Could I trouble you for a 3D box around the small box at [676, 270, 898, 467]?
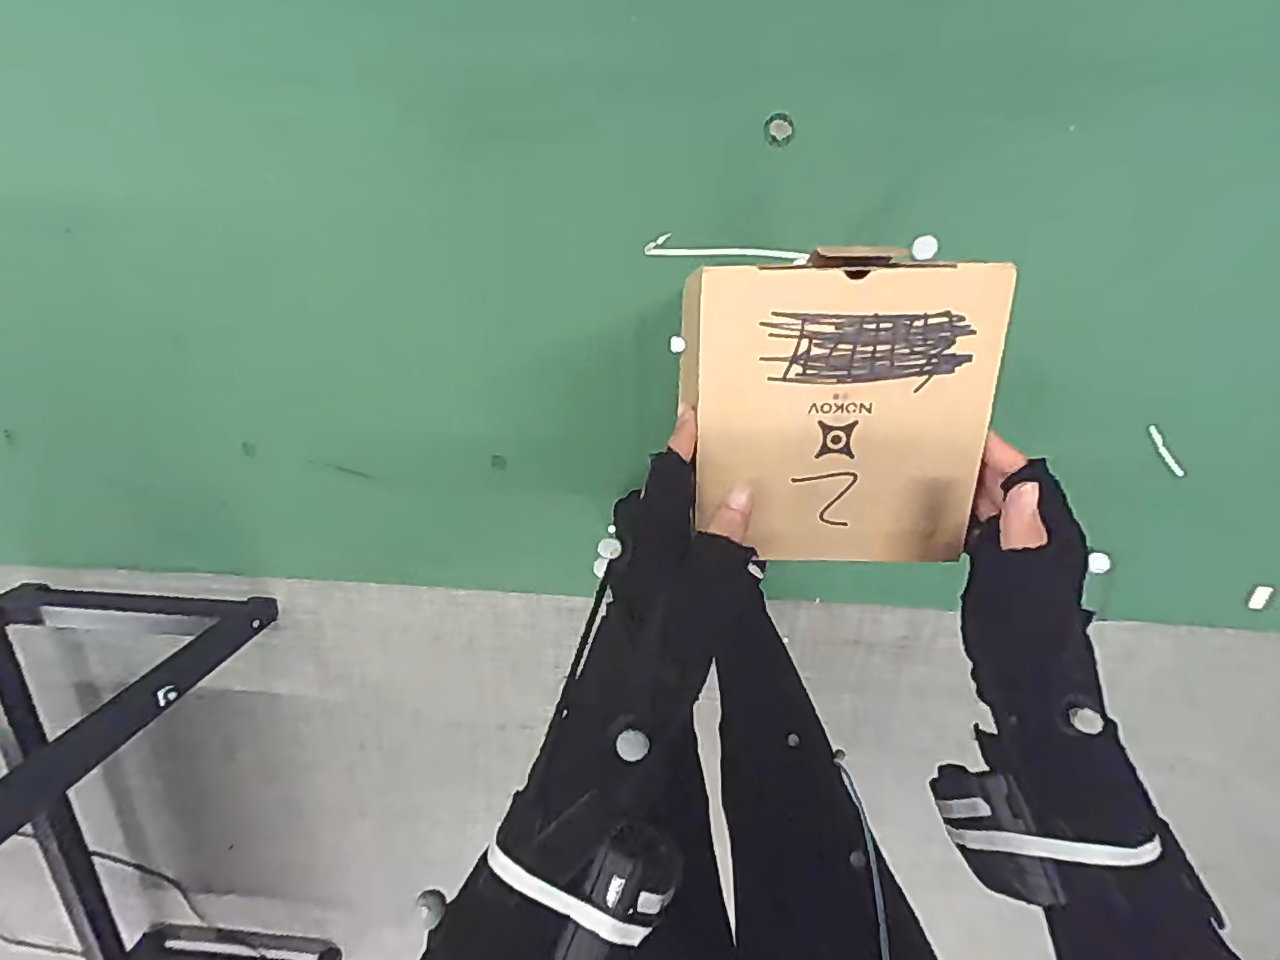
[{"bbox_3d":[0.126,-0.116,0.540,0.179,0.176,0.168,1,108,3],"label":"small box"}]
